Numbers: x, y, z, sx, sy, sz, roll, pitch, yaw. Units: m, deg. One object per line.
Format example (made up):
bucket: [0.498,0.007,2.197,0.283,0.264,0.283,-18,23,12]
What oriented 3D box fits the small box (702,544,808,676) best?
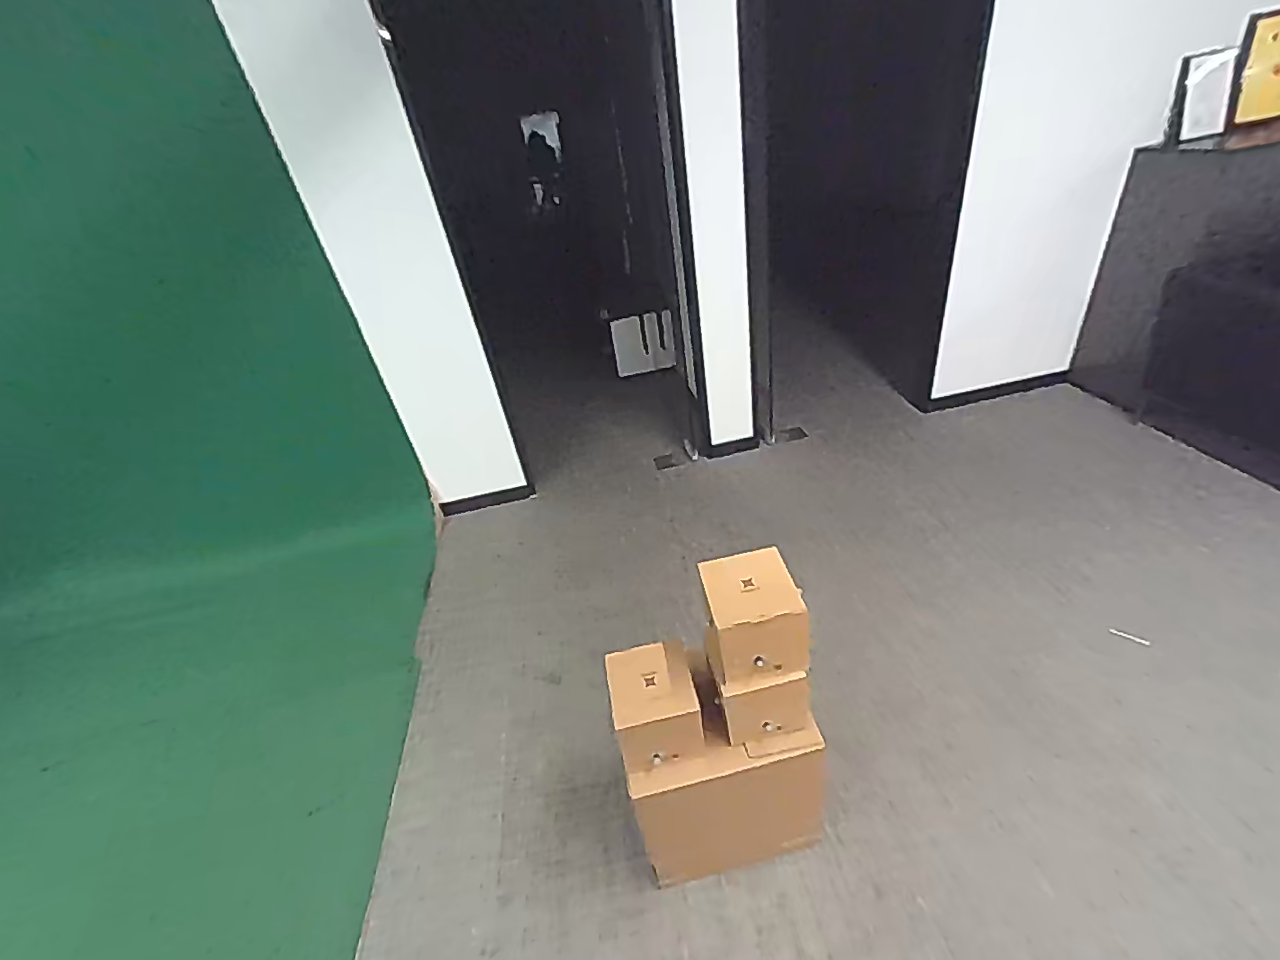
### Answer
small box: [0.224,0.257,1.075,0.168,0.176,0.179,-12,34,0]
